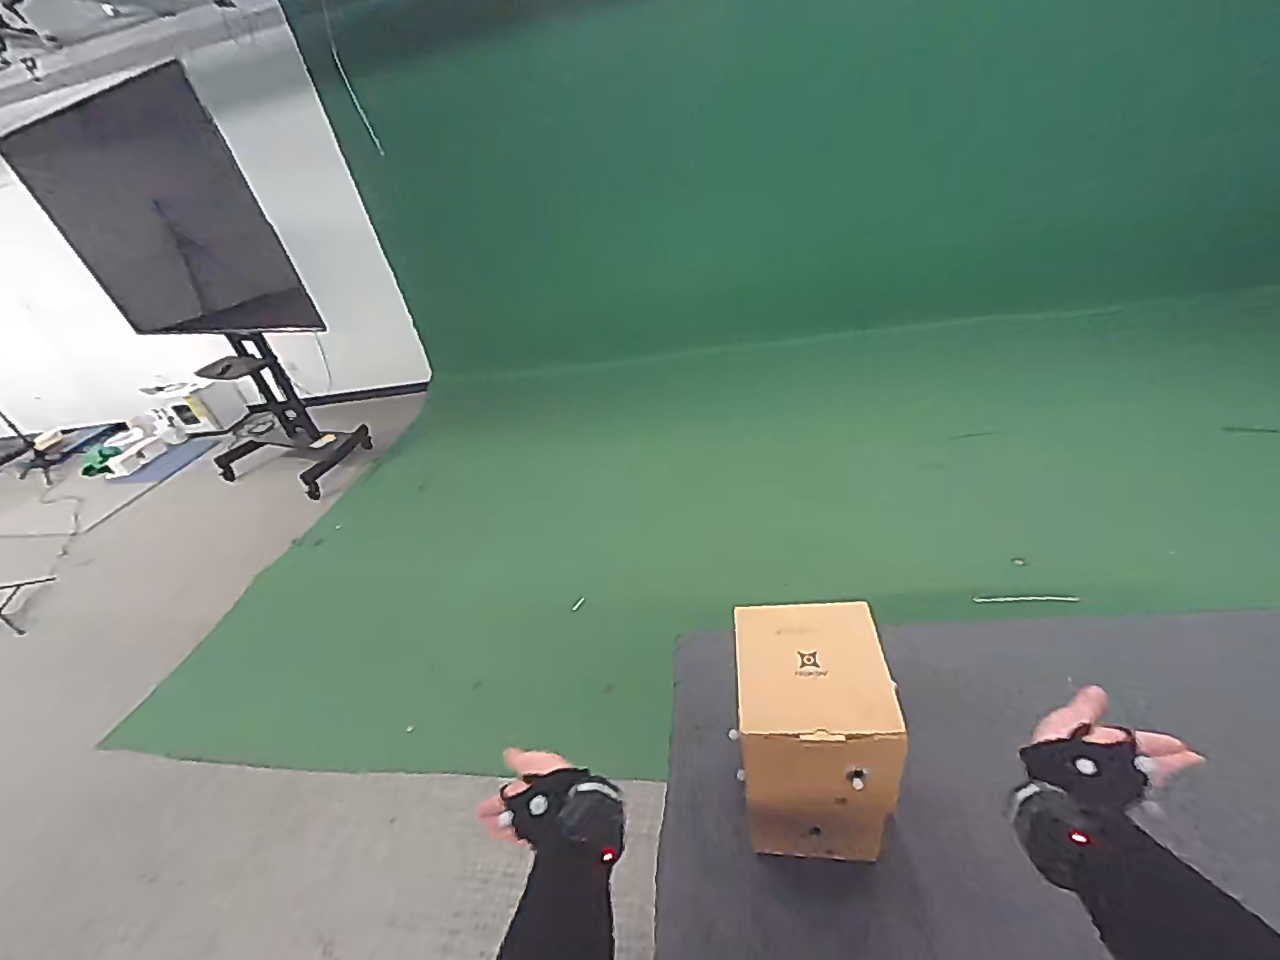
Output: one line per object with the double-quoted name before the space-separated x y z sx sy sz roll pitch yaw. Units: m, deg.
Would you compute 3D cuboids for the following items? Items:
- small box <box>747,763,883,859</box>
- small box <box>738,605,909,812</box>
"small box" 0.239 0.401 0.760 0.168 0.176 0.179 -3 35 12
"small box" 0.211 0.277 0.658 0.168 0.176 0.179 -4 34 10
